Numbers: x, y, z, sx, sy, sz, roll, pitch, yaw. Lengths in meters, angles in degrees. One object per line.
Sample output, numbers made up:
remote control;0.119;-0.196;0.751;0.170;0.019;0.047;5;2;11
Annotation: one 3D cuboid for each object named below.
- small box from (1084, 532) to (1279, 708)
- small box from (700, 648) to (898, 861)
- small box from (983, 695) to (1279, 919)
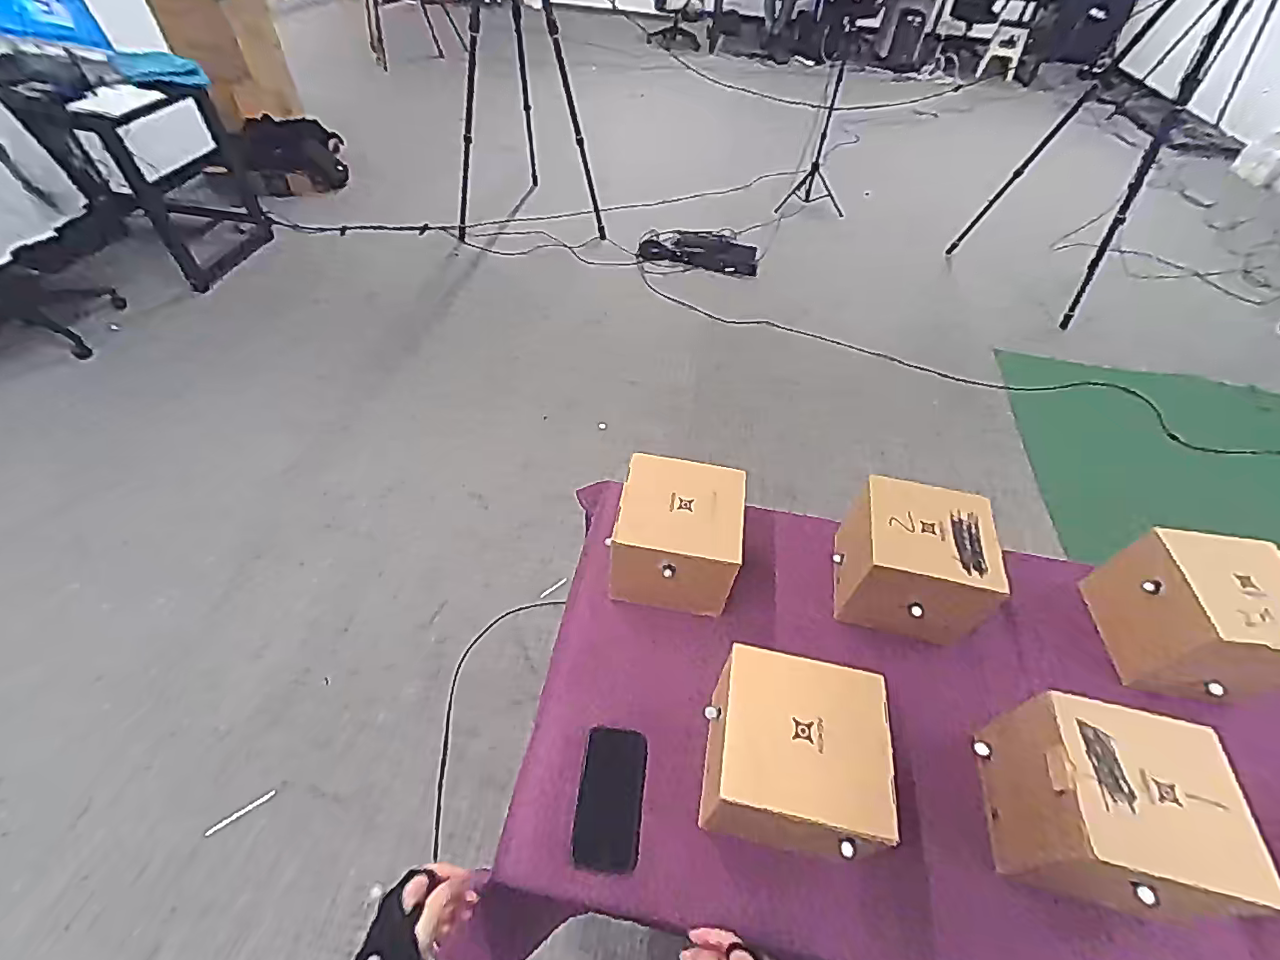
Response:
small box;0.799;0.202;0.778;0.168;0.176;0.179;8;50;3
small box;0.173;0.324;0.633;0.179;0.176;0.168;12;49;5
small box;0.522;0.373;0.613;0.179;0.176;0.168;13;50;6
